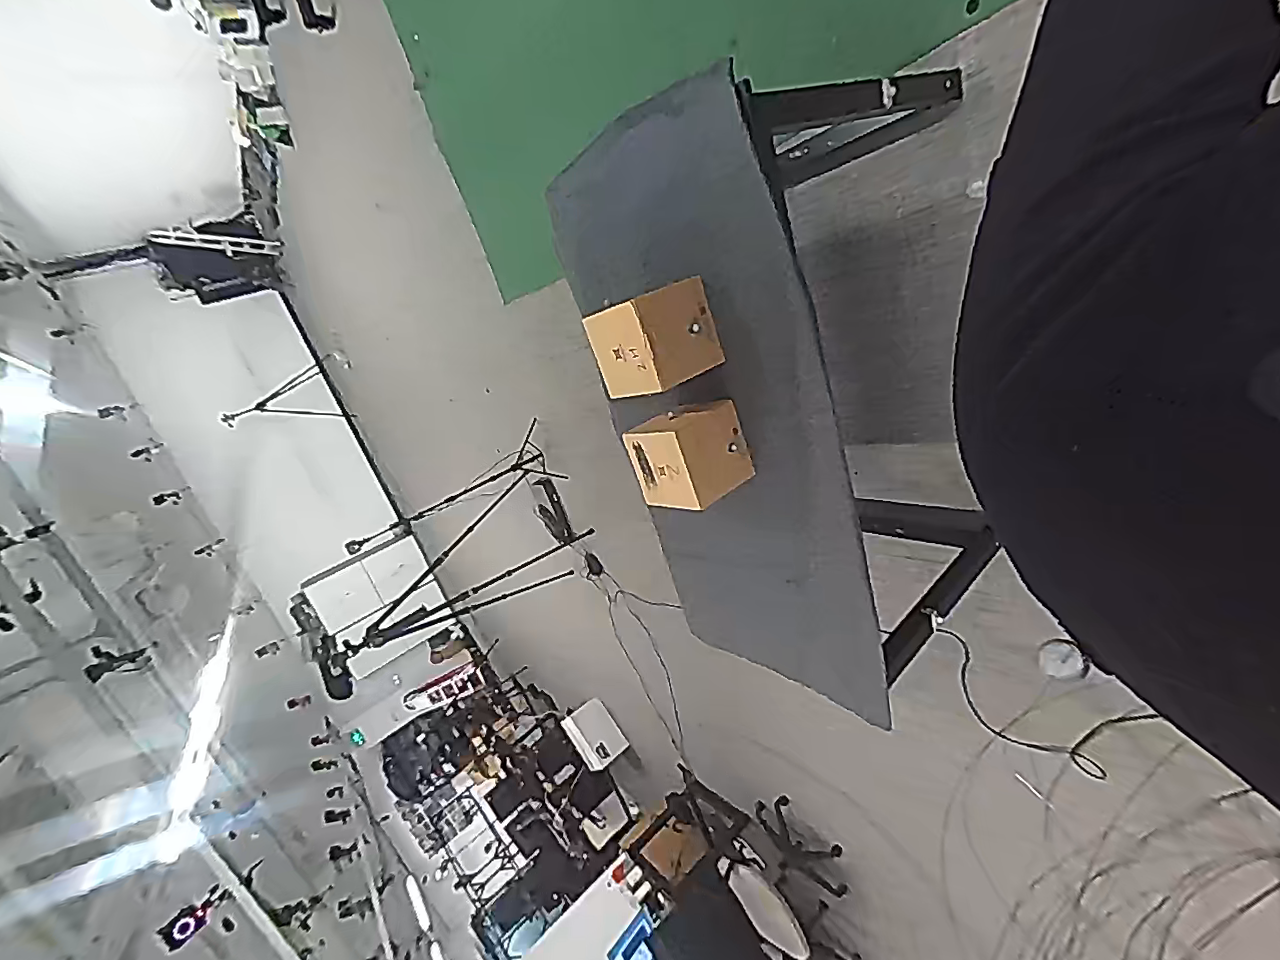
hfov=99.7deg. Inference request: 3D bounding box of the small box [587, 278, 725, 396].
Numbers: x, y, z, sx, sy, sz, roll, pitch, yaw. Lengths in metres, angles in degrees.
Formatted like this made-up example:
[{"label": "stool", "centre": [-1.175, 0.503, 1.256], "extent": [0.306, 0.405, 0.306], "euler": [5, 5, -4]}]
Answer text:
[{"label": "small box", "centre": [0.032, -0.271, 1.038], "extent": [0.179, 0.176, 0.168], "euler": [5, 120, 54]}]
